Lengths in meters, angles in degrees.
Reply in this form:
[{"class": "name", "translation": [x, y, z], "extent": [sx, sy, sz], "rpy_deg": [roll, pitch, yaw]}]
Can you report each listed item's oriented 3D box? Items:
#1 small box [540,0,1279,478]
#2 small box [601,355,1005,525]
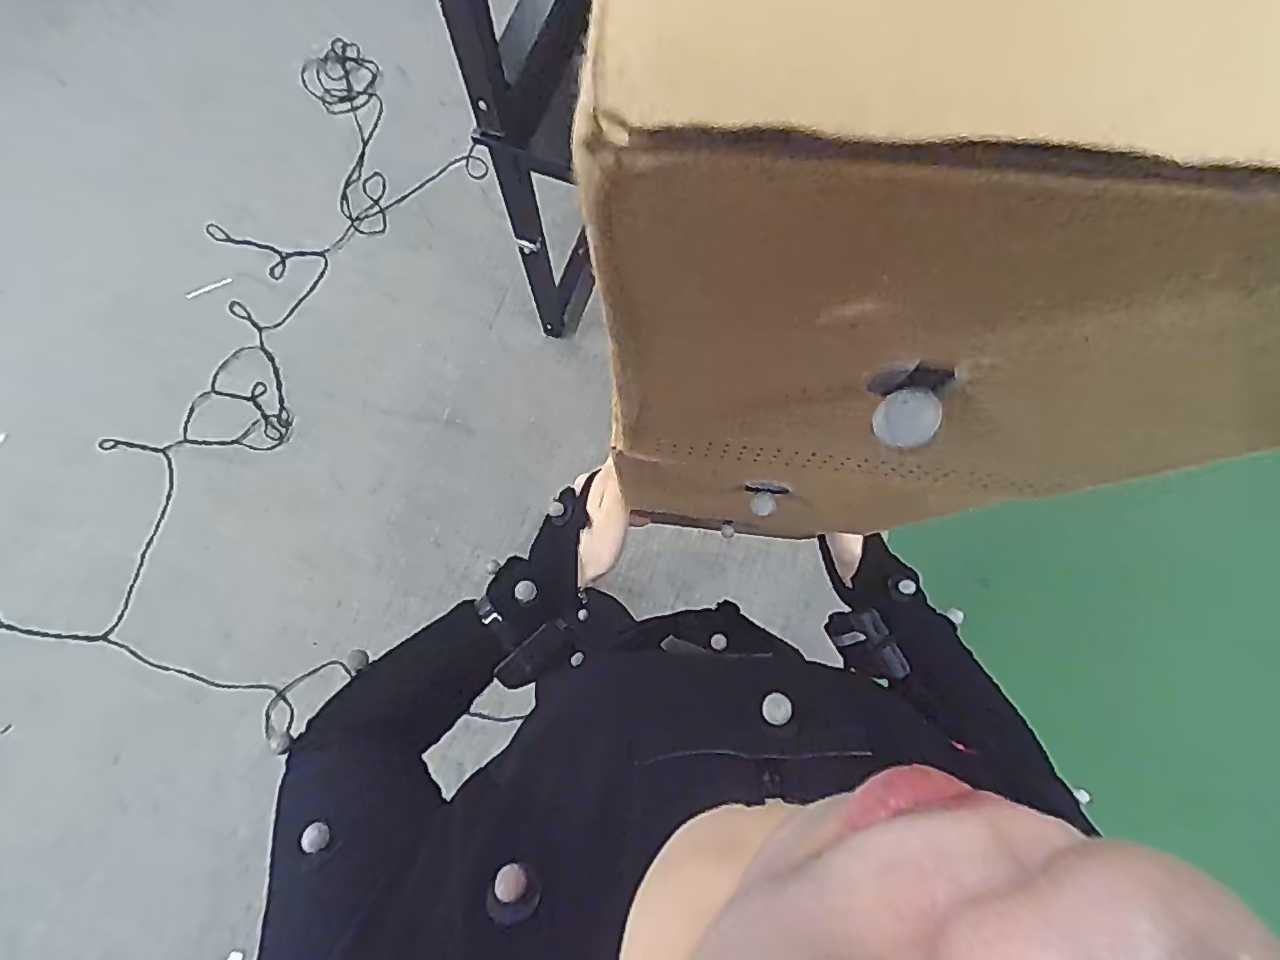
[{"class": "small box", "translation": [0.083, -0.100, 0.160], "extent": [0.179, 0.176, 0.168], "rpy_deg": [5, 79, 2]}, {"class": "small box", "translation": [0.079, -0.070, 0.322], "extent": [0.179, 0.176, 0.168], "rpy_deg": [7, 79, 1]}]
